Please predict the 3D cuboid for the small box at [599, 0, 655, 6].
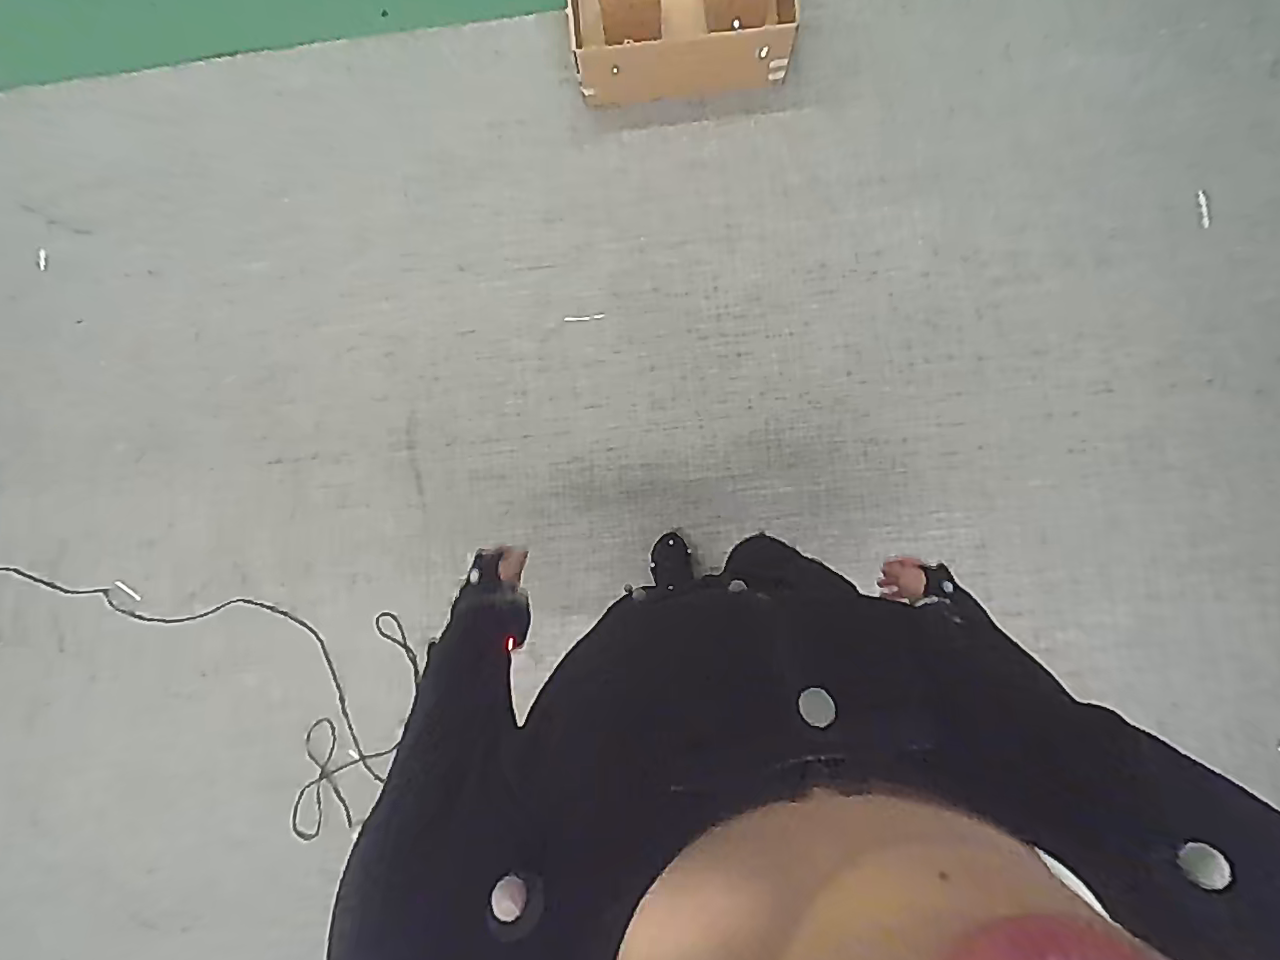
[{"bbox_3d":[-0.040,-1.344,1.359,0.168,0.176,0.179,-8,85,3],"label":"small box"}]
